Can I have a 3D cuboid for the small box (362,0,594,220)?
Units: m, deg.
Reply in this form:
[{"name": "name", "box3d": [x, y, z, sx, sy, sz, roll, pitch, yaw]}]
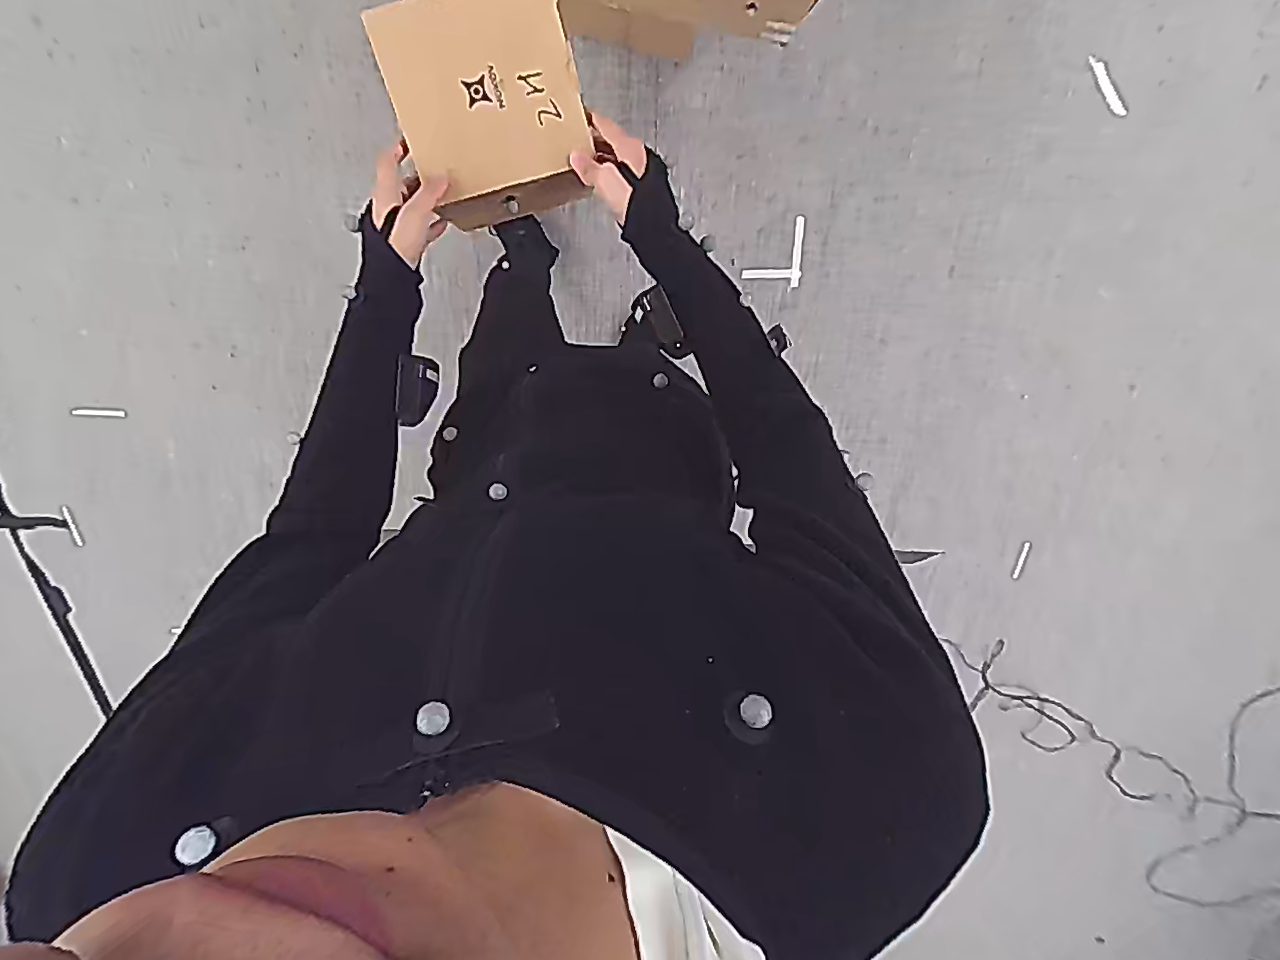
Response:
[{"name": "small box", "box3d": [-0.154, -0.394, 0.579, 0.179, 0.176, 0.168, -16, 109, -2]}]
